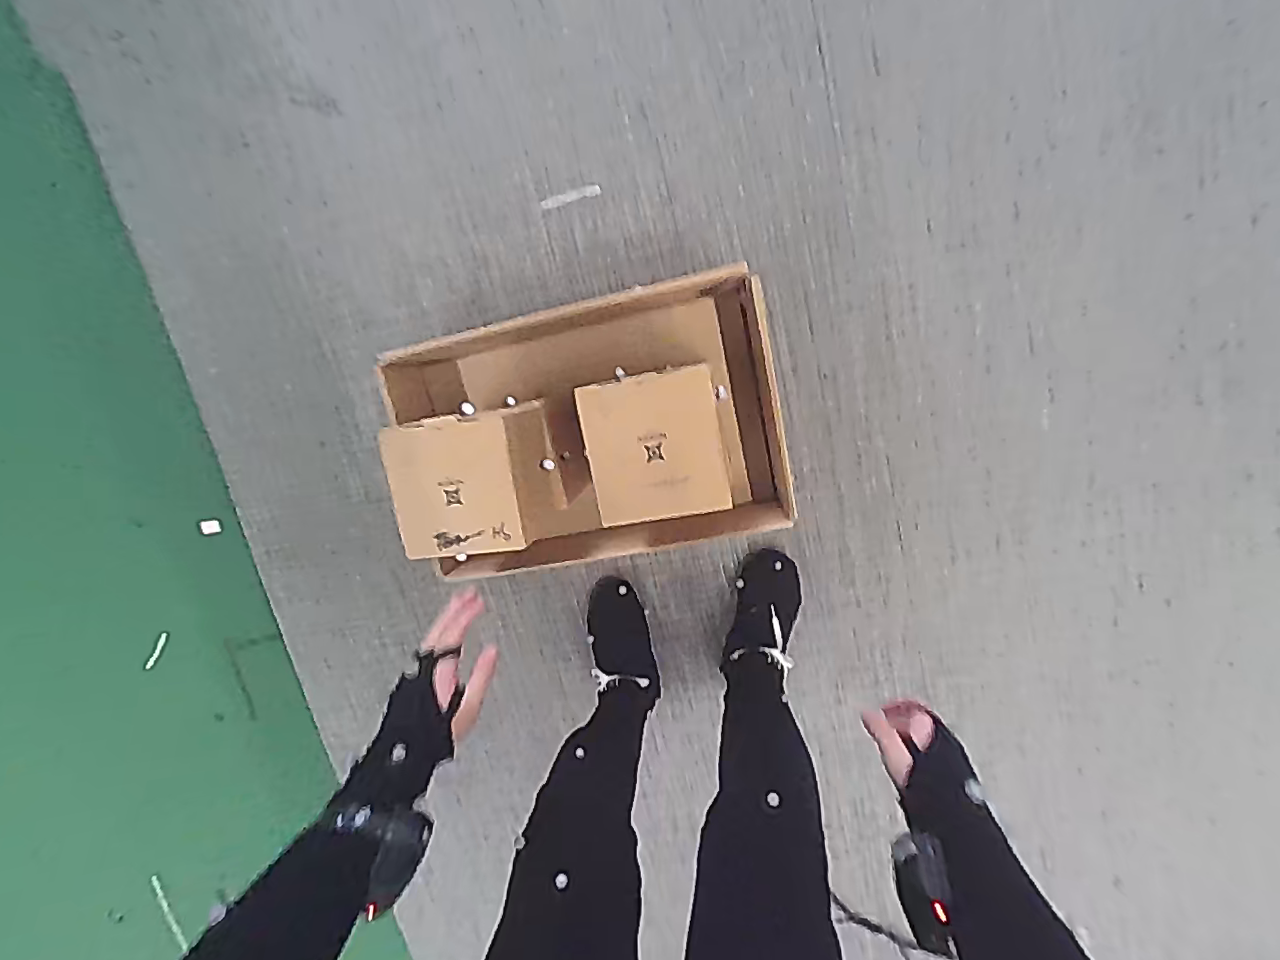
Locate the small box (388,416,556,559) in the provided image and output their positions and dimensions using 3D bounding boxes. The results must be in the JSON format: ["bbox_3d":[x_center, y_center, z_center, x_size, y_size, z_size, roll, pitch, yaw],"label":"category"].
[{"bbox_3d":[-0.228,0.002,0.776,0.168,0.176,0.179,-5,100,7],"label":"small box"}]

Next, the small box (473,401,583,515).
[{"bbox_3d":[-0.207,-0.032,0.937,0.168,0.176,0.179,-12,100,7],"label":"small box"}]

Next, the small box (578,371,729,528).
[{"bbox_3d":[0.026,-0.049,0.742,0.168,0.176,0.179,-9,101,10],"label":"small box"}]
